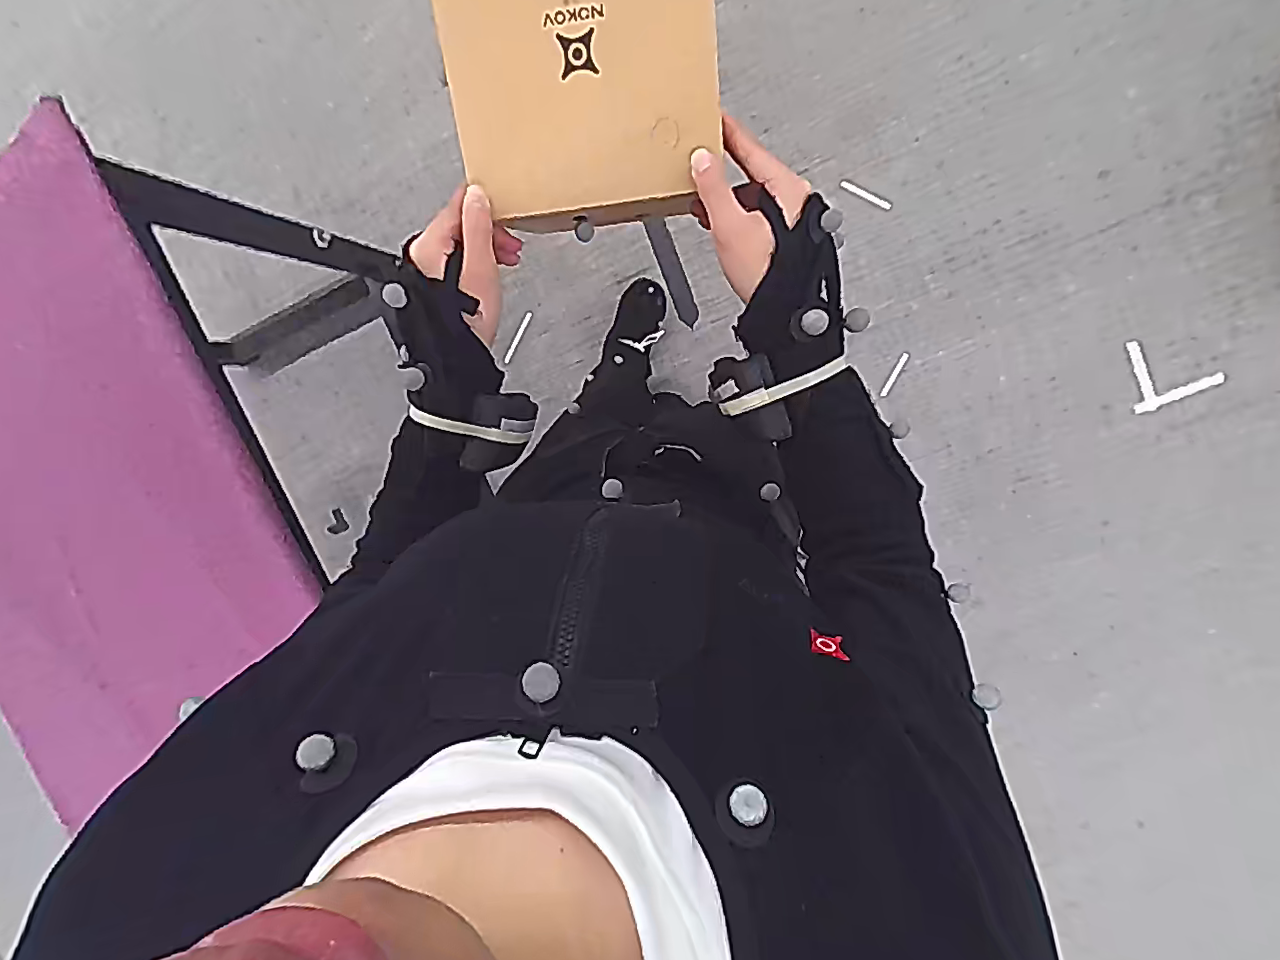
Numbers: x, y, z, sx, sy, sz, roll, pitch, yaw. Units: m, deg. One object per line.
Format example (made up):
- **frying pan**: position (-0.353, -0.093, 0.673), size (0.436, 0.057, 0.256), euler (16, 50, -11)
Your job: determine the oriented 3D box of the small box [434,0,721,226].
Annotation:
- **small box**: position (-0.030, -0.288, 0.390), size (0.168, 0.176, 0.179), euler (-4, 110, 6)
